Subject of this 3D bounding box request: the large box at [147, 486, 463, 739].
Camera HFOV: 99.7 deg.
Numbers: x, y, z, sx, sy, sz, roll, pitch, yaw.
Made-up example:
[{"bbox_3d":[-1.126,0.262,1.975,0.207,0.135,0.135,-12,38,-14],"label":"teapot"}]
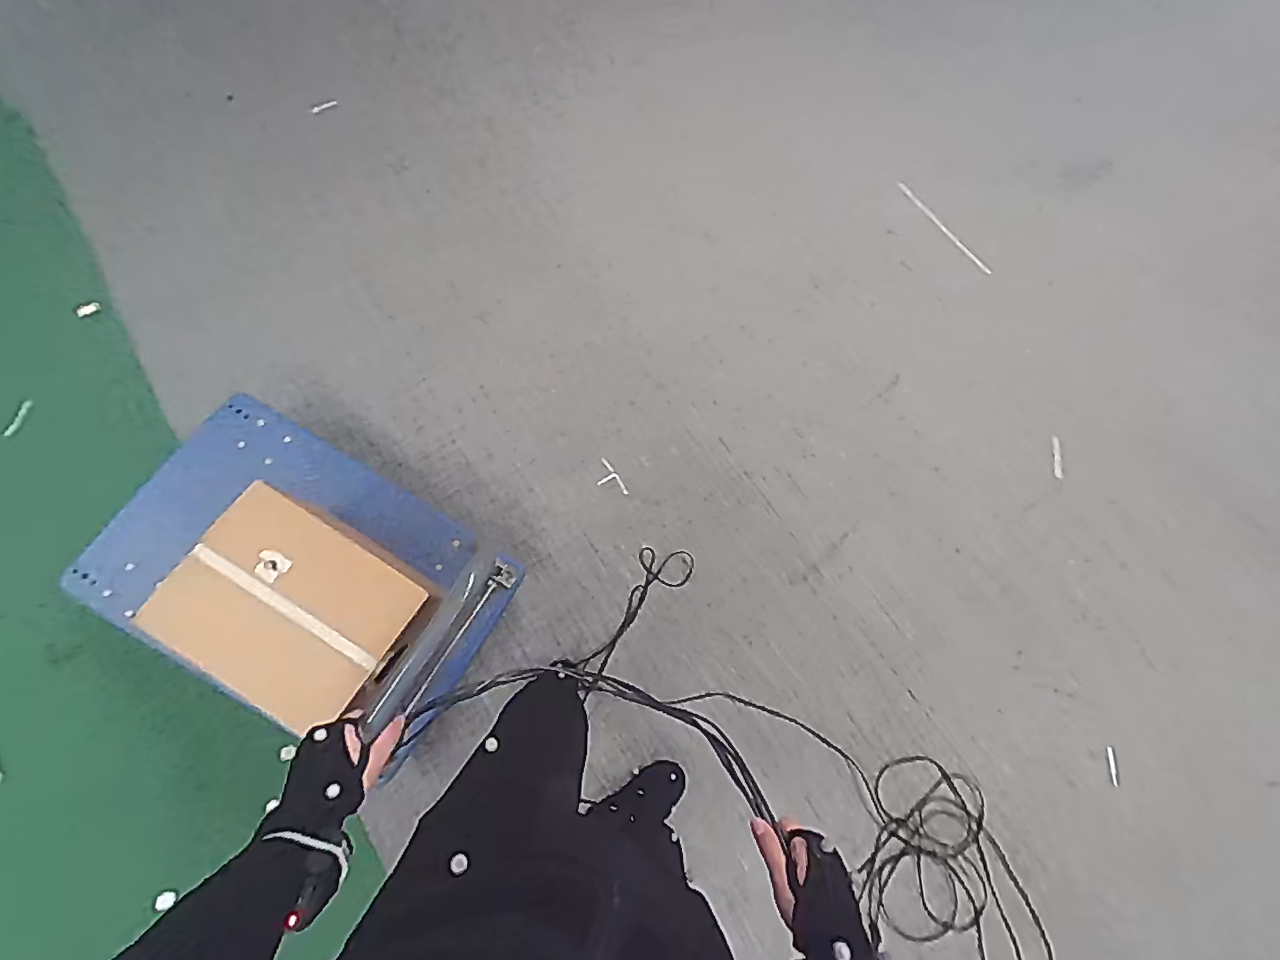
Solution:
[{"bbox_3d":[-0.655,0.273,1.144,0.408,0.320,0.320,33,73,2],"label":"large box"}]
